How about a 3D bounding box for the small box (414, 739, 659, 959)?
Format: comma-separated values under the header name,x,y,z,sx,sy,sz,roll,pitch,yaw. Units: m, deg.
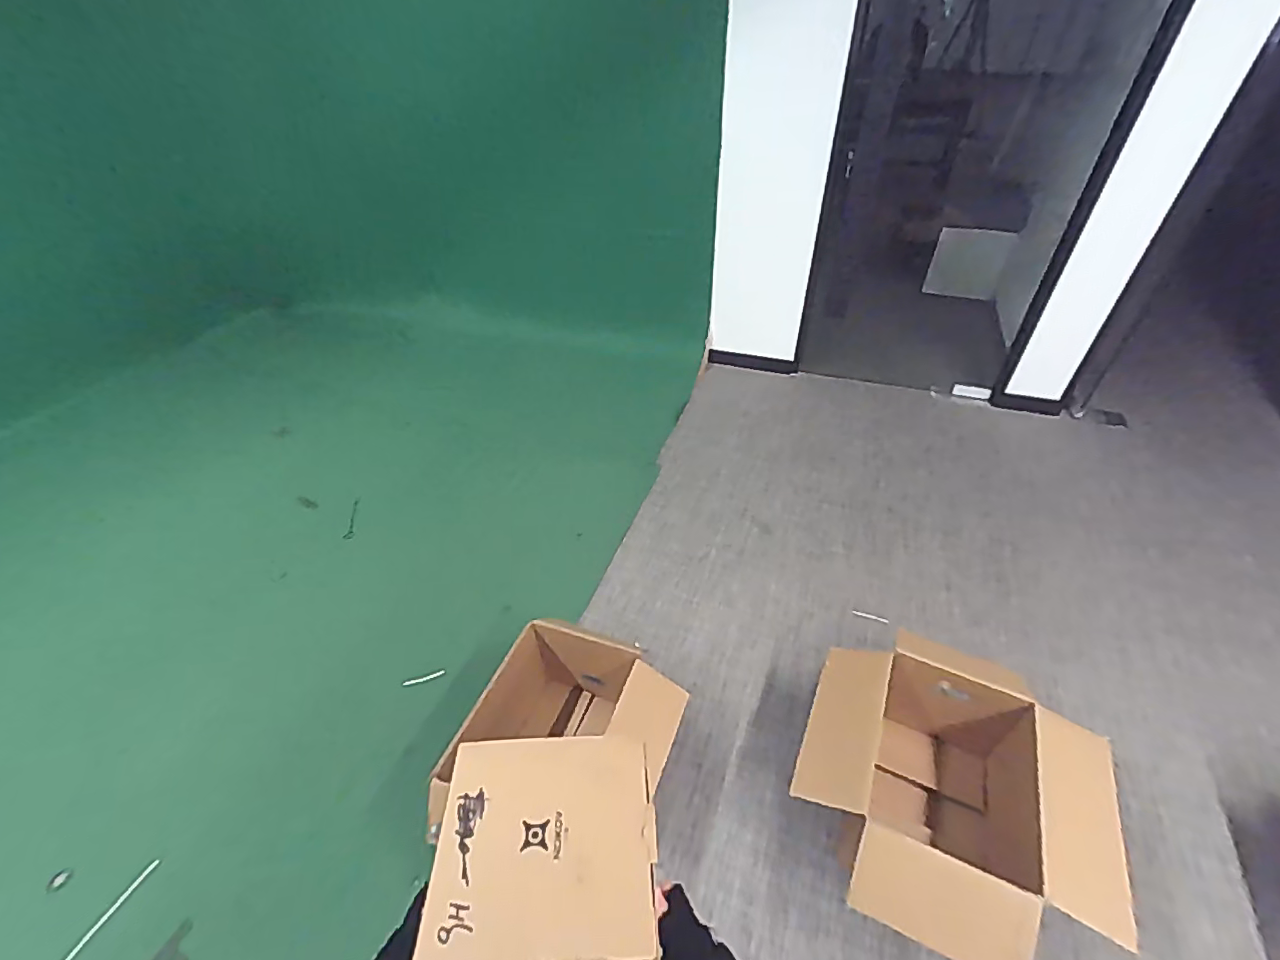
name,x,y,z,sx,sy,sz,roll,pitch,yaw
small box,-0.080,0.361,0.494,0.179,0.176,0.168,1,35,-3
